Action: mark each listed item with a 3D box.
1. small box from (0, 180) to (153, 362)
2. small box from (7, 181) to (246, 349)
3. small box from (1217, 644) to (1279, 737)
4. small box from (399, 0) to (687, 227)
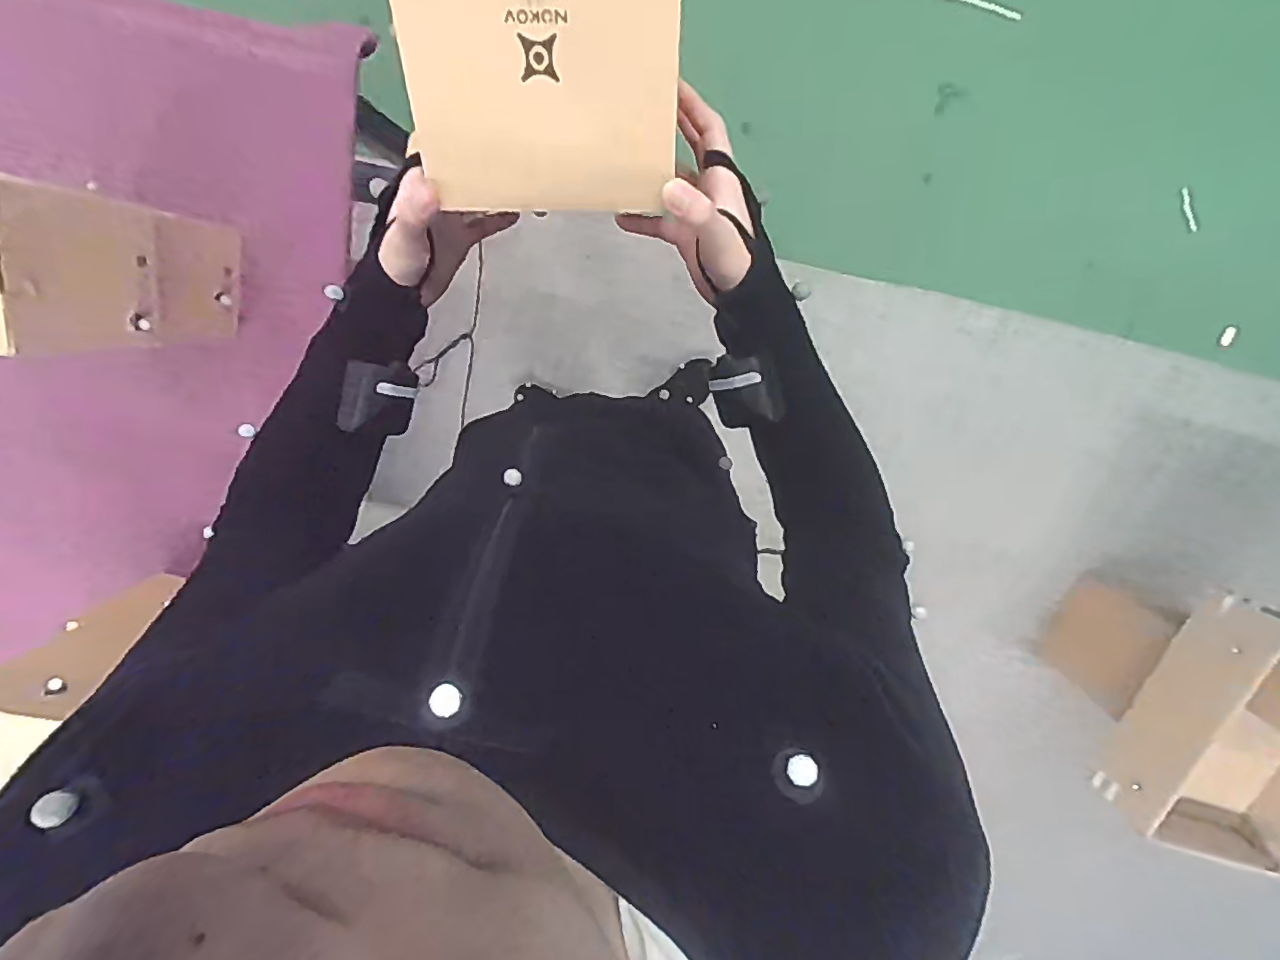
[{"bbox_3d":[-0.682,-0.235,0.590,0.179,0.176,0.168,12,107,0],"label":"small box"},{"bbox_3d":[-0.695,-0.285,0.747,0.179,0.176,0.168,14,107,-2],"label":"small box"},{"bbox_3d":[1.512,0.502,1.232,0.179,0.176,0.168,19,104,-4],"label":"small box"},{"bbox_3d":[-0.052,-0.294,0.385,0.168,0.176,0.179,2,126,1],"label":"small box"}]
